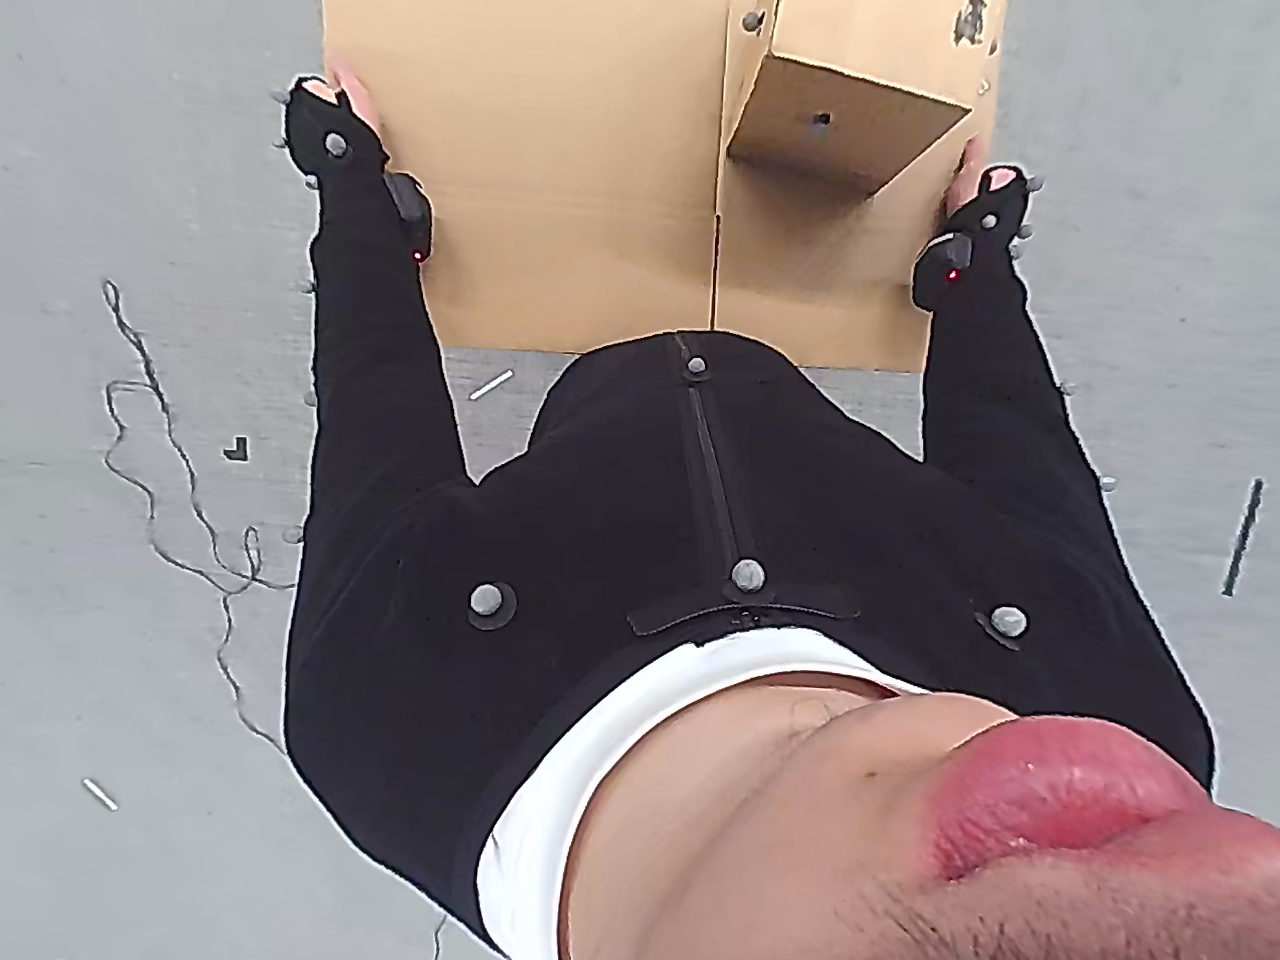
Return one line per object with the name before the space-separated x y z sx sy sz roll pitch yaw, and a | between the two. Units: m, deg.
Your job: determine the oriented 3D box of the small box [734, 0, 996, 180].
small box | 0.198 -0.411 0.505 0.179 0.176 0.168 12 97 -3
